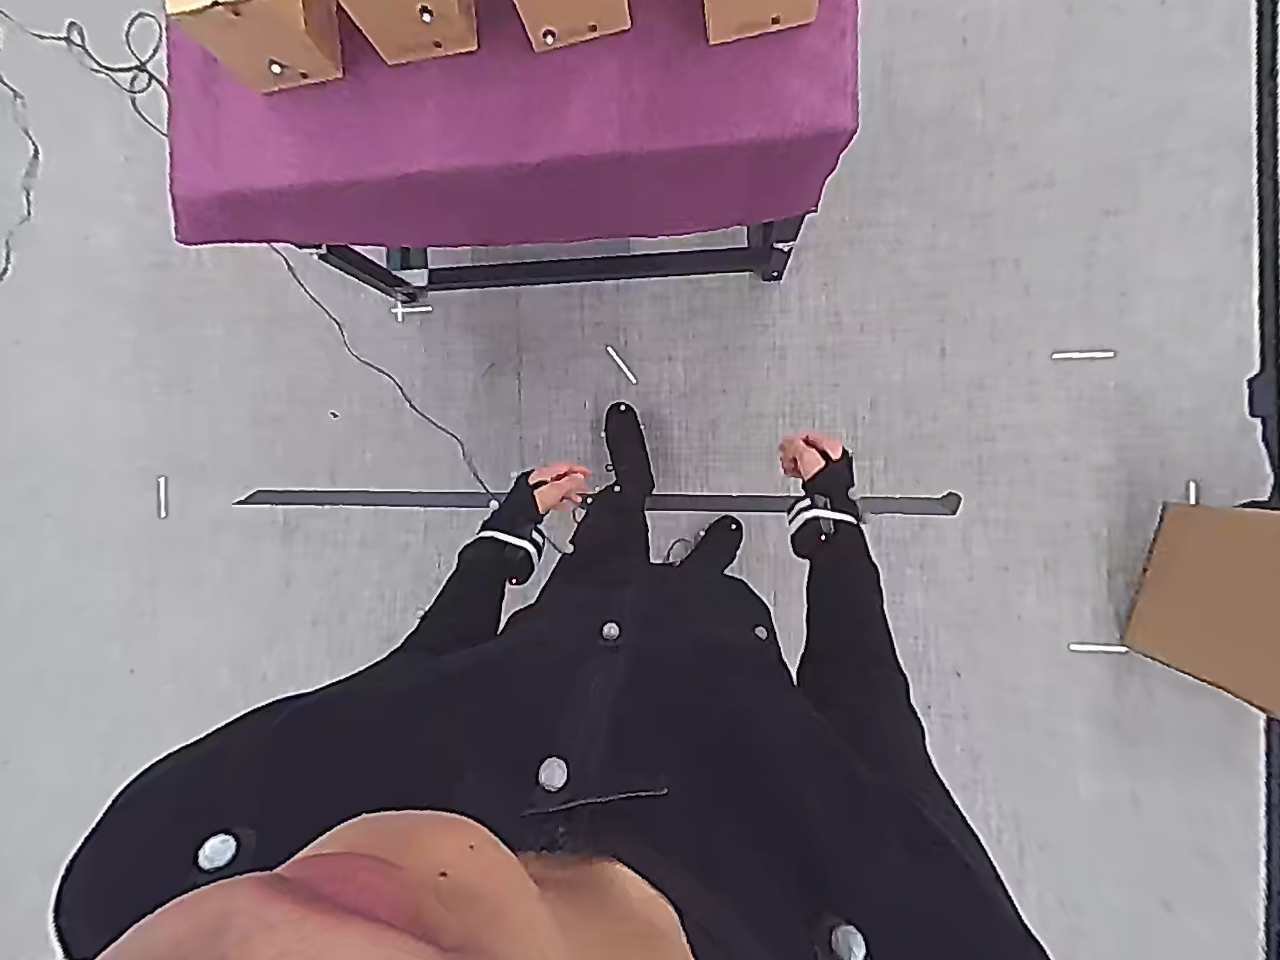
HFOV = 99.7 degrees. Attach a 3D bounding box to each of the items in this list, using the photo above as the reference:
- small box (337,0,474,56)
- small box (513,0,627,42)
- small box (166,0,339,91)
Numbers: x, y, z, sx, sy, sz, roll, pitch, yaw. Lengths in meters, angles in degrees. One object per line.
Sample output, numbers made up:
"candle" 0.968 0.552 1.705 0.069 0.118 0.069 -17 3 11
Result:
"small box" -0.372 -0.807 0.845 0.168 0.176 0.179 -3 90 7
"small box" -0.121 -0.808 0.811 0.168 0.176 0.179 -9 89 7
"small box" -0.619 -0.783 0.875 0.168 0.176 0.179 -5 91 8
